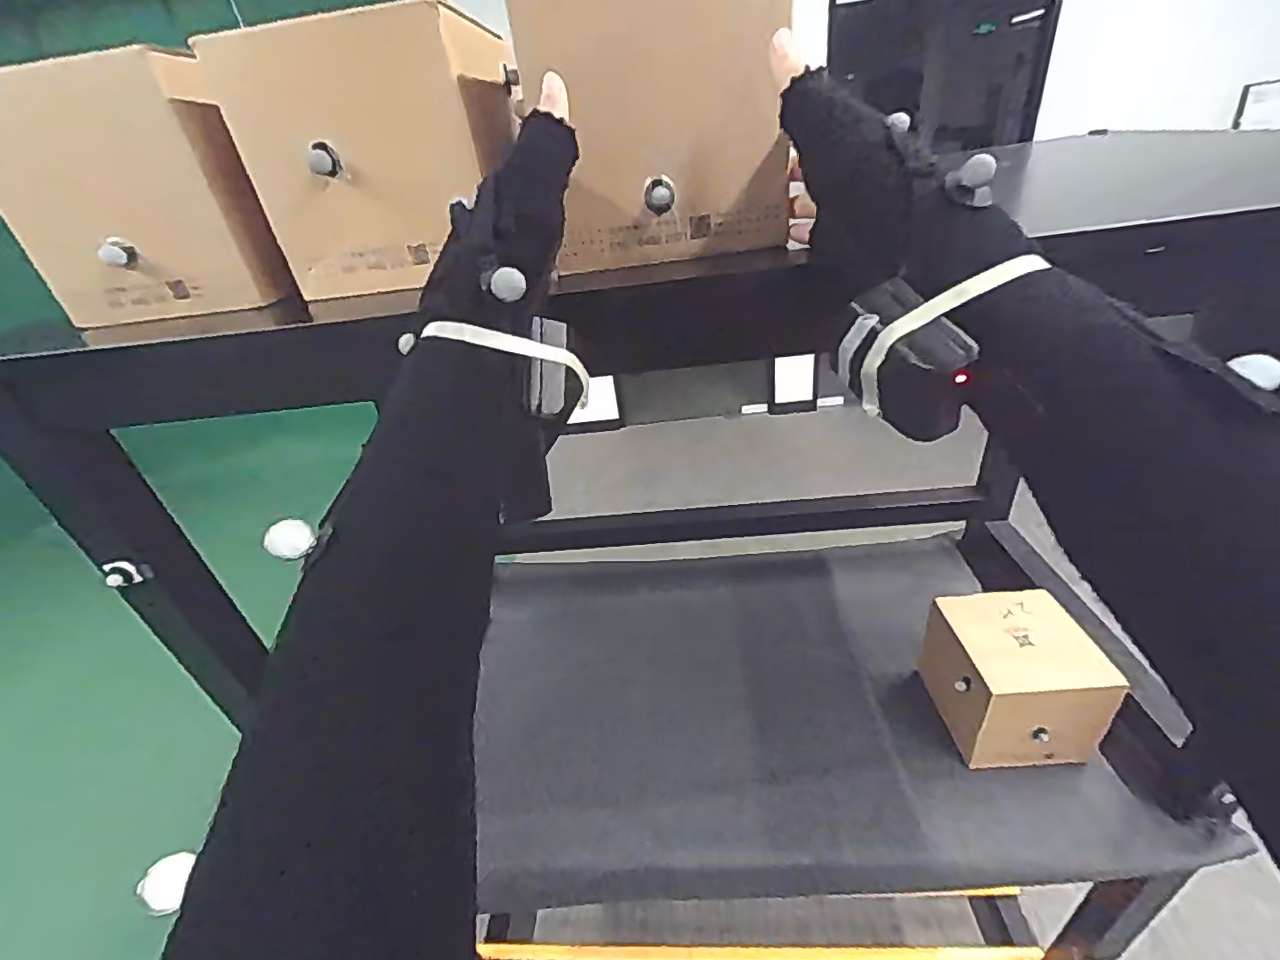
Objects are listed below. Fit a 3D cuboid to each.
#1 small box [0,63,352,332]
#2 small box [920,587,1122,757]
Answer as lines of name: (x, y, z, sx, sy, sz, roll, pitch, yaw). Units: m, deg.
small box: (-0.385, -0.239, 0.470, 0.168, 0.176, 0.179, -6, 33, 5)
small box: (0.537, 0.285, 0.793, 0.168, 0.176, 0.179, -6, 31, 5)
